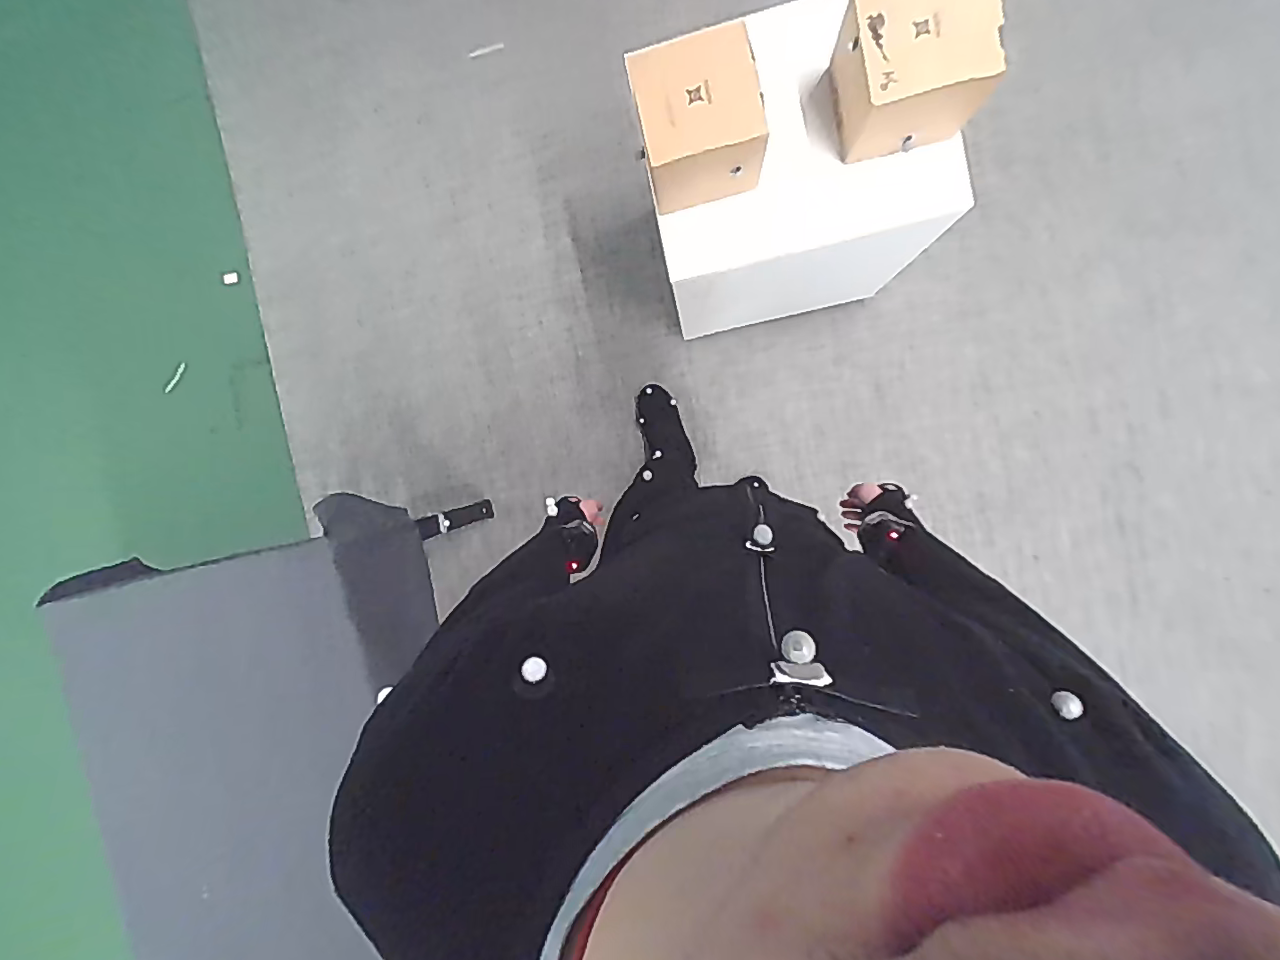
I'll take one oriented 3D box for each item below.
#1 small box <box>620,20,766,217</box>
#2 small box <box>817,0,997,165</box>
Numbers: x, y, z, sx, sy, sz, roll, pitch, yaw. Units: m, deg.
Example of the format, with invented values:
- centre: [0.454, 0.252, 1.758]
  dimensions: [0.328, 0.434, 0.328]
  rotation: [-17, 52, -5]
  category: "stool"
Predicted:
- centre: [0.078, -0.538, 0.831]
  dimensions: [0.179, 0.176, 0.168]
  rotation: [-15, 91, 5]
  category: "small box"
- centre: [0.382, -0.607, 0.802]
  dimensions: [0.179, 0.176, 0.168]
  rotation: [-11, 92, 5]
  category: "small box"
